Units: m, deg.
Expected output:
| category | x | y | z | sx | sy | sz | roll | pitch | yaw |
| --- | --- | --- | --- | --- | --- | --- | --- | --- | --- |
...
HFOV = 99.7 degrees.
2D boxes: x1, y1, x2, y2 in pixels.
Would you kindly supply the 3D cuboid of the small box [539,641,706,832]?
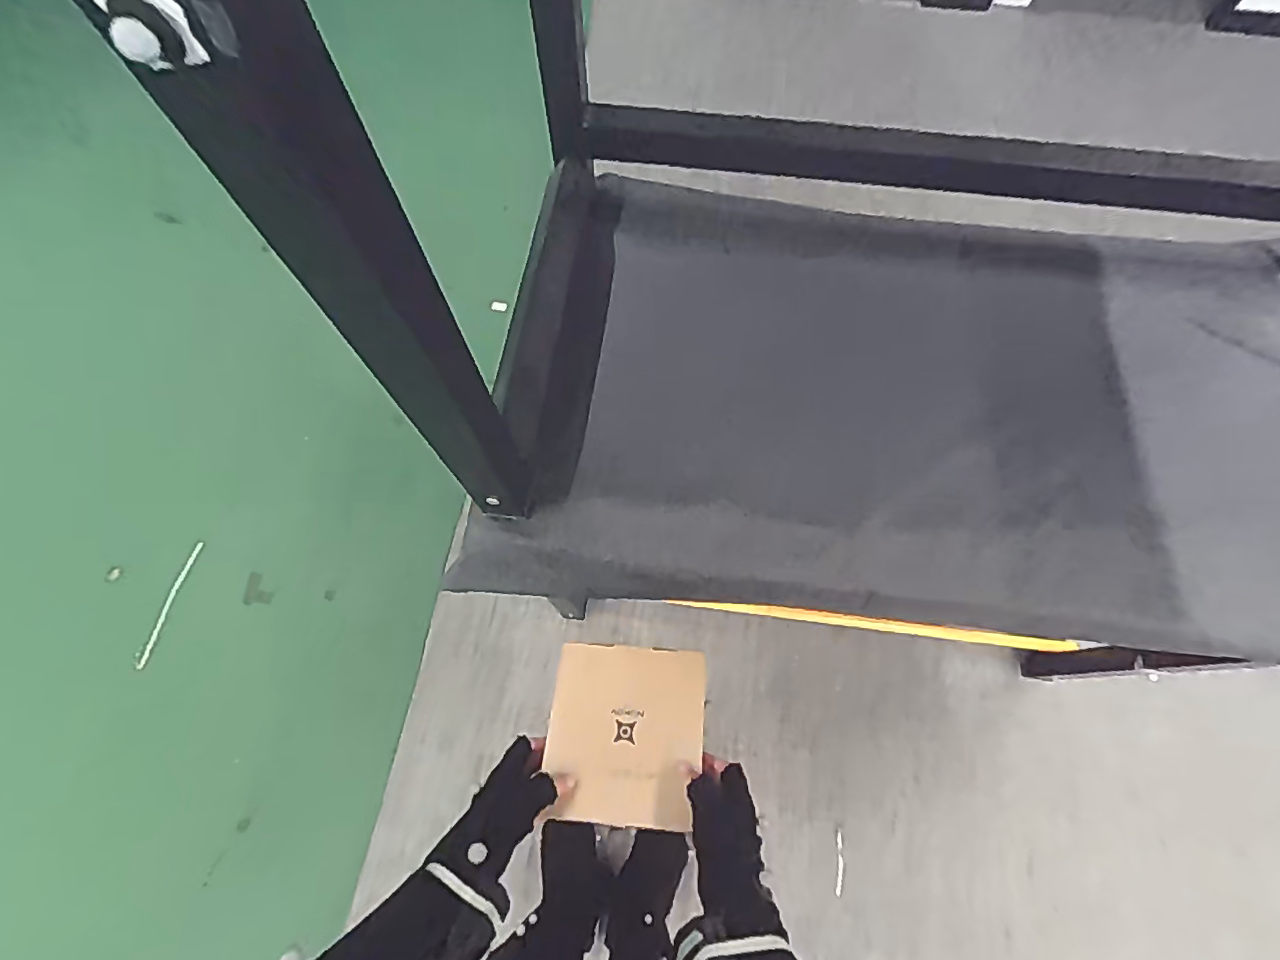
| category | x | y | z | sx | sy | sz | roll | pitch | yaw |
| --- | --- | --- | --- | --- | --- | --- | --- | --- | --- |
| small box | -0.010 | 0.307 | 0.643 | 0.168 | 0.176 | 0.179 | 2 | 57 | 5 |
